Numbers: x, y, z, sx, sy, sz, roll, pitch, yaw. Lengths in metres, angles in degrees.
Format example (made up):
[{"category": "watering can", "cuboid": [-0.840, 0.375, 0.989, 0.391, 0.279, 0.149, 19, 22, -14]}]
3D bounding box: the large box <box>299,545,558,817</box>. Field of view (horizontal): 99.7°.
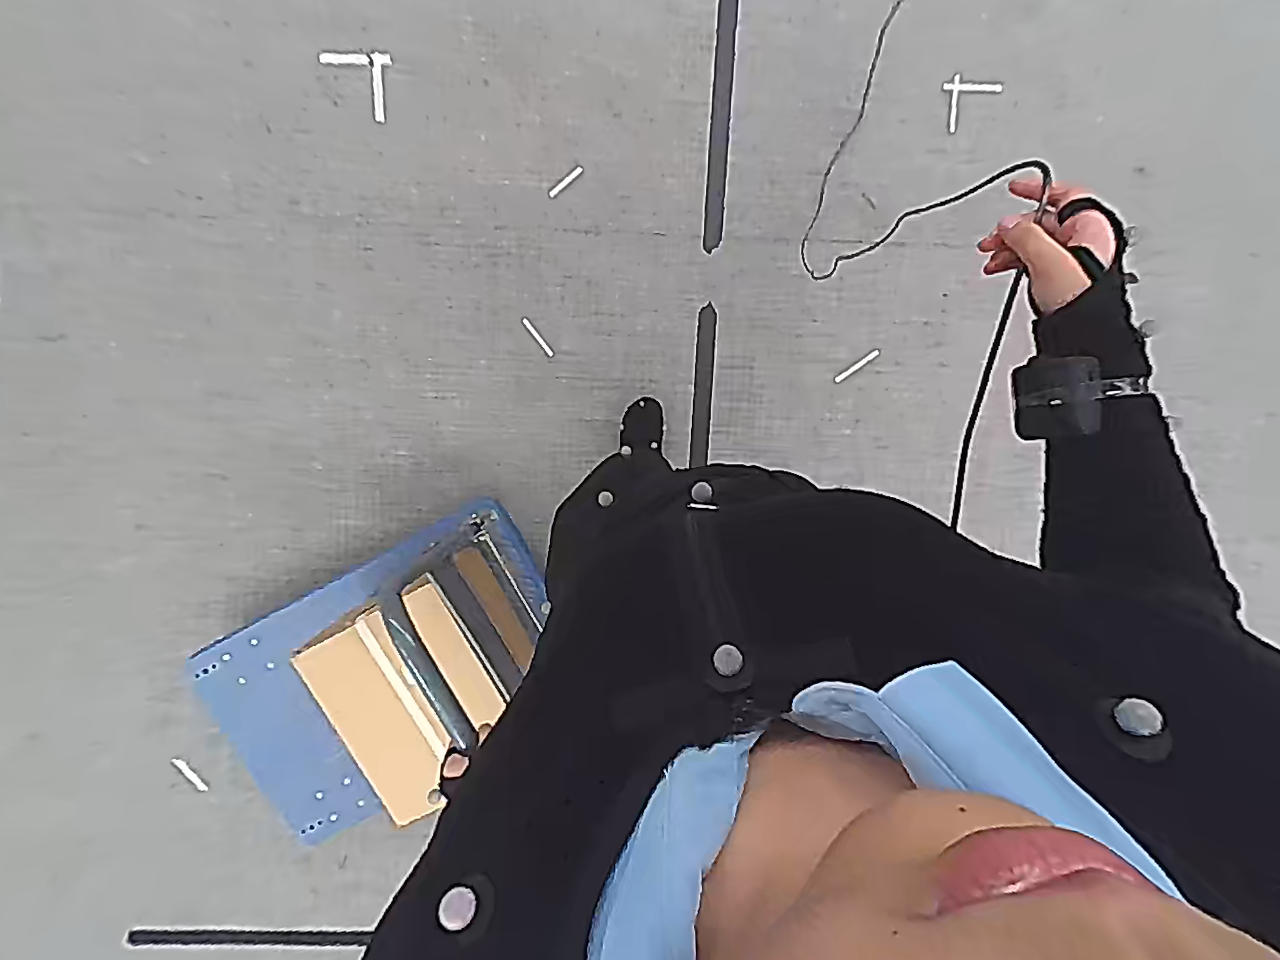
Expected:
[{"category": "large box", "cuboid": [-0.427, 0.414, 1.194, 0.320, 0.320, 0.408, -28, 96, 1]}]
